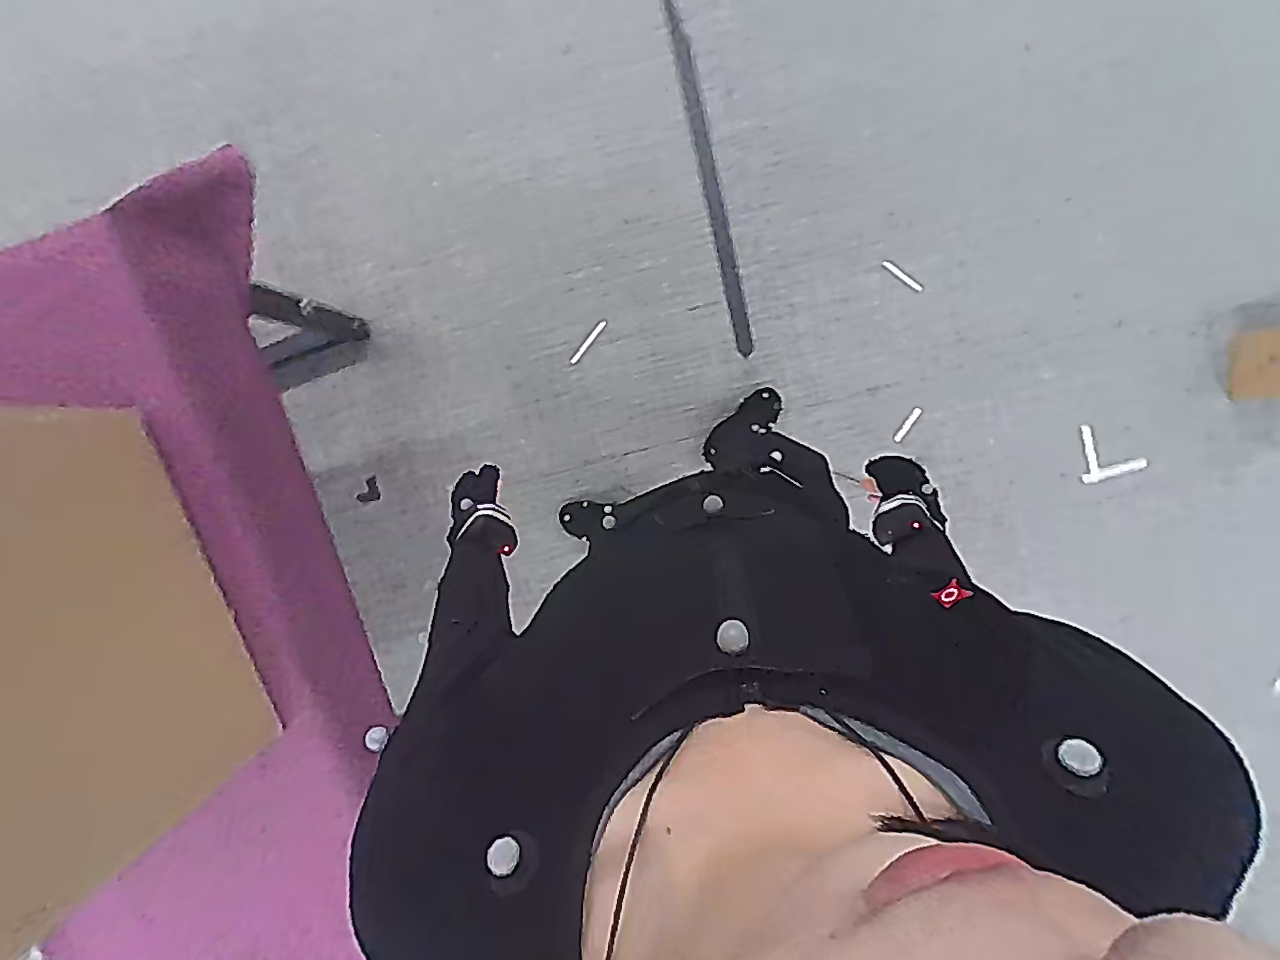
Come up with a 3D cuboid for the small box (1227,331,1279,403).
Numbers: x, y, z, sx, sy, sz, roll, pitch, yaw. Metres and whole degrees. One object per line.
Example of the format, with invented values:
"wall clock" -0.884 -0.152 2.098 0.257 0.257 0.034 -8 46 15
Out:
"small box" 1.659 -0.287 1.371 0.168 0.176 0.179 -3 95 1
